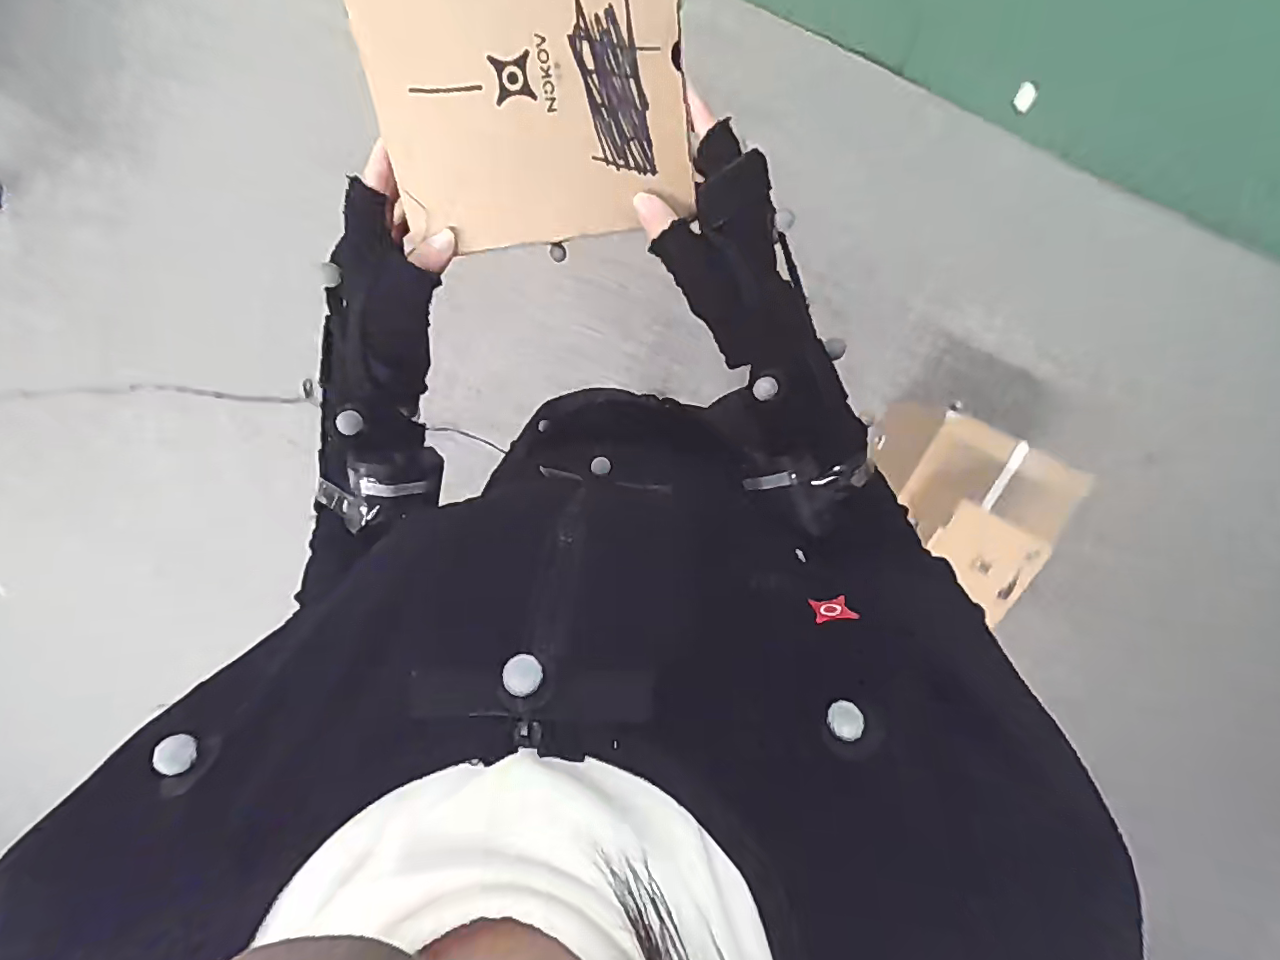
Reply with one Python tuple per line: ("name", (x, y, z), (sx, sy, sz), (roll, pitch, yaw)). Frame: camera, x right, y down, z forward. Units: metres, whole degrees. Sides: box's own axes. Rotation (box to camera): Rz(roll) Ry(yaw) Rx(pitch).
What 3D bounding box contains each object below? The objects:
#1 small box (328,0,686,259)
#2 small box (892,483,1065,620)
("small box", (-0.071, -0.257, 0.369), (0.179, 0.176, 0.168), (-8, 116, 4))
("small box", (0.599, 0.118, 0.988), (0.179, 0.176, 0.168), (30, 103, 1))
